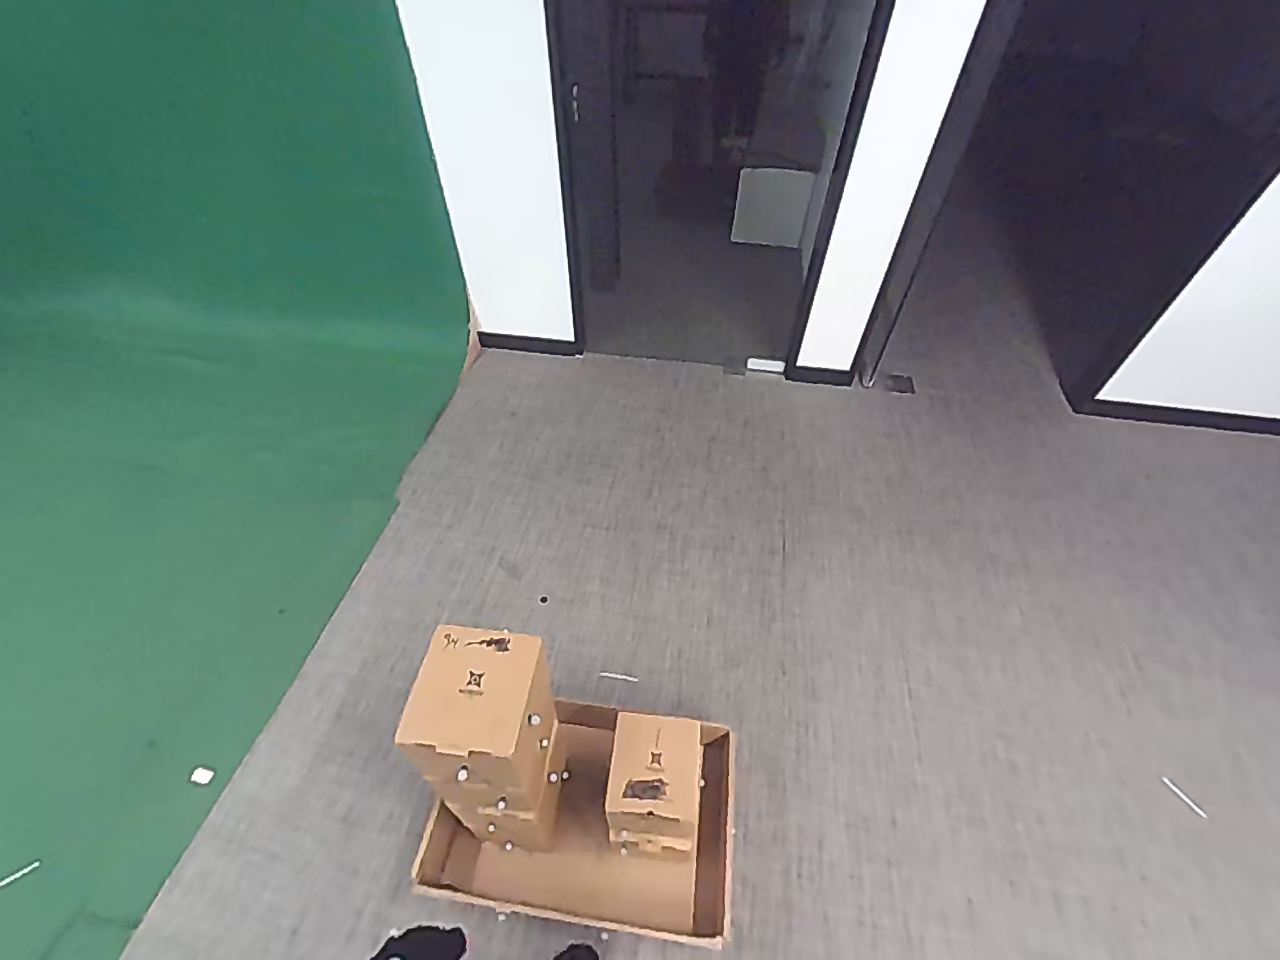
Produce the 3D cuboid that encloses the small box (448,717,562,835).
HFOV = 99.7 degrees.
[{"bbox_3d":[-0.254,0.572,1.065,0.168,0.176,0.179,8,48,4],"label":"small box"}]

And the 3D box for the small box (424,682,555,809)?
[{"bbox_3d":[-0.249,0.457,0.948,0.168,0.176,0.179,7,48,3],"label":"small box"}]

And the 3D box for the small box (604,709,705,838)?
[{"bbox_3d":[0.030,0.578,1.058,0.168,0.176,0.179,9,49,5],"label":"small box"}]

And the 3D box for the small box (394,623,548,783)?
[{"bbox_3d":[-0.241,0.345,0.829,0.168,0.176,0.179,7,49,2],"label":"small box"}]
